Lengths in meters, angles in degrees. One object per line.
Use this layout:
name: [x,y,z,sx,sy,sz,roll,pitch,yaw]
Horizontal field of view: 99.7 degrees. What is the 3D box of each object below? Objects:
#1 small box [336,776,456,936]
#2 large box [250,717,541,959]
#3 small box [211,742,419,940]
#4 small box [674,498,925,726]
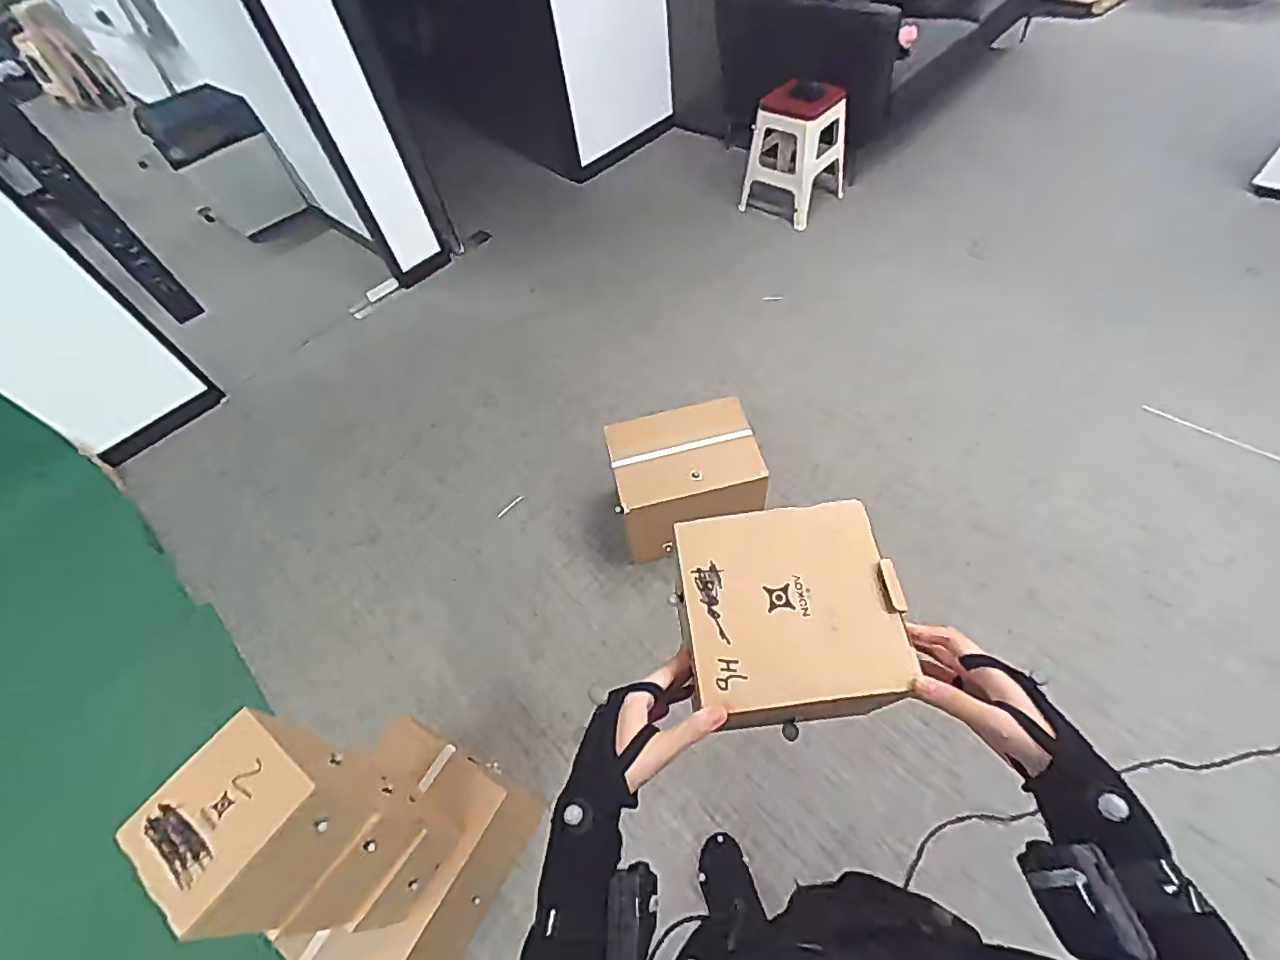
small box: [-0.457,0.638,0.943,0.179,0.176,0.168,28,61,24]
large box: [-0.471,0.789,1.141,0.320,0.320,0.408,22,61,22]
small box: [-0.476,0.538,0.817,0.168,0.176,0.179,29,62,24]
small box: [0.129,0.133,0.518,0.179,0.176,0.168,-6,59,-1]
